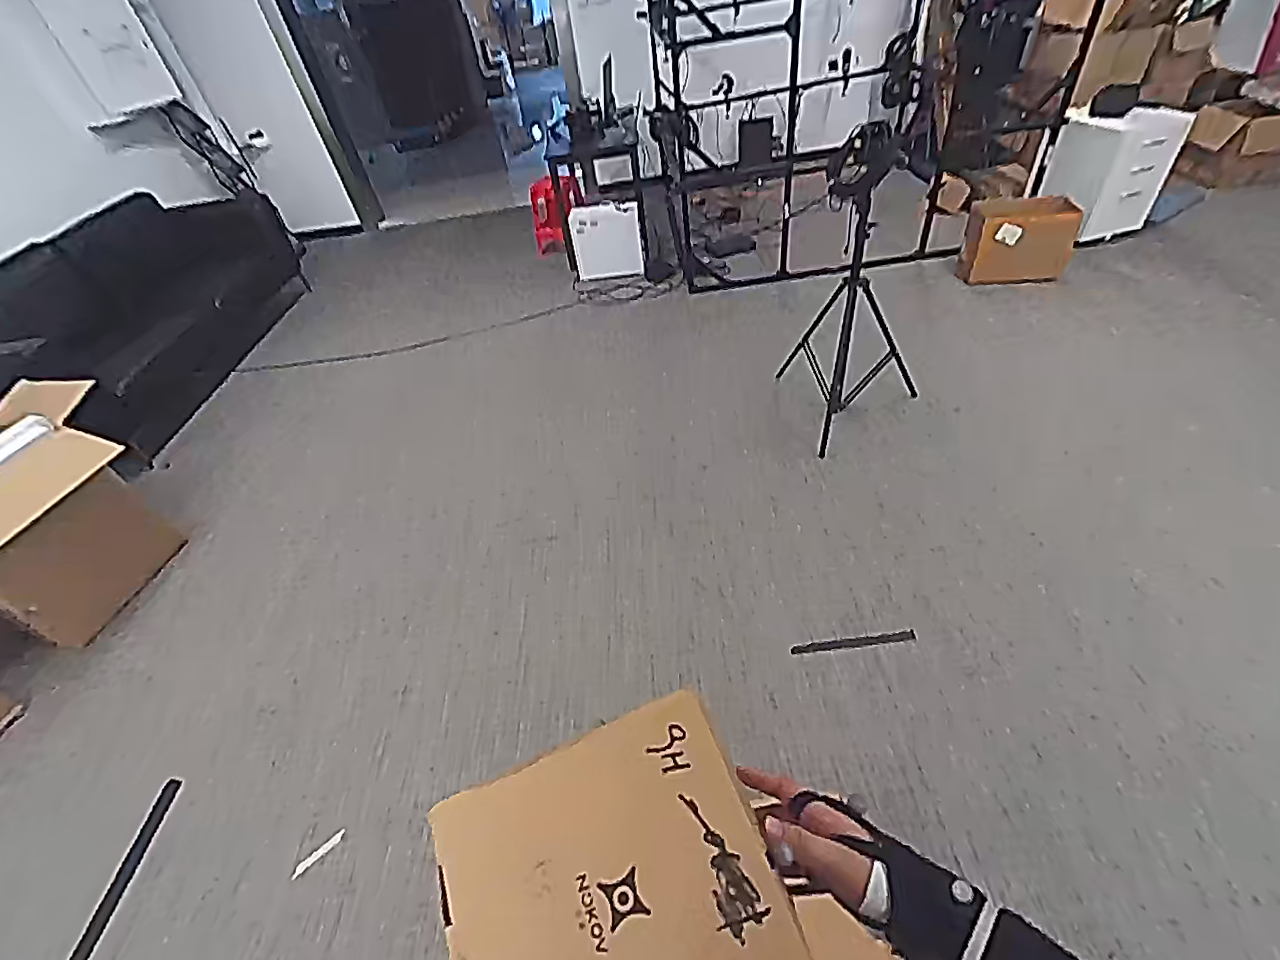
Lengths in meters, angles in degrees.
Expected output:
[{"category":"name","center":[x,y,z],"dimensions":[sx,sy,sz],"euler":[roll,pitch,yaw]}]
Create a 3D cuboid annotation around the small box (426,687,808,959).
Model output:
[{"category":"small box","center":[-0.005,0.255,0.353],"dimensions":[0.179,0.176,0.168],"euler":[-24,64,-2]}]
